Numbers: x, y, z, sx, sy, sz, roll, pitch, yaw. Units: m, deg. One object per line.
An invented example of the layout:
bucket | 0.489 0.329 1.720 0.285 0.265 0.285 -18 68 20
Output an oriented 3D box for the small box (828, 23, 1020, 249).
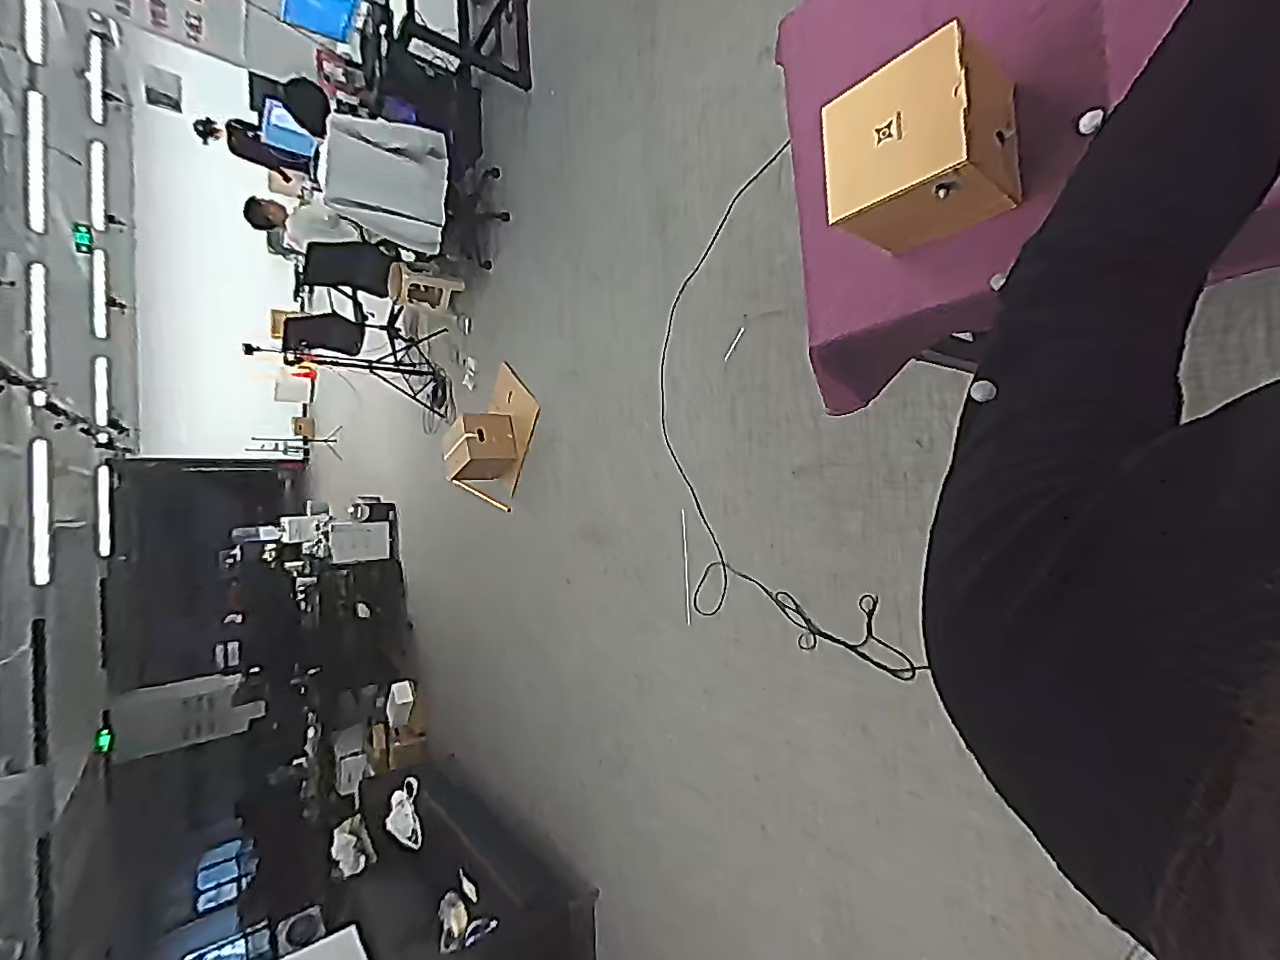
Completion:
small box | 0.378 -0.436 0.727 0.179 0.176 0.168 -5 86 51
